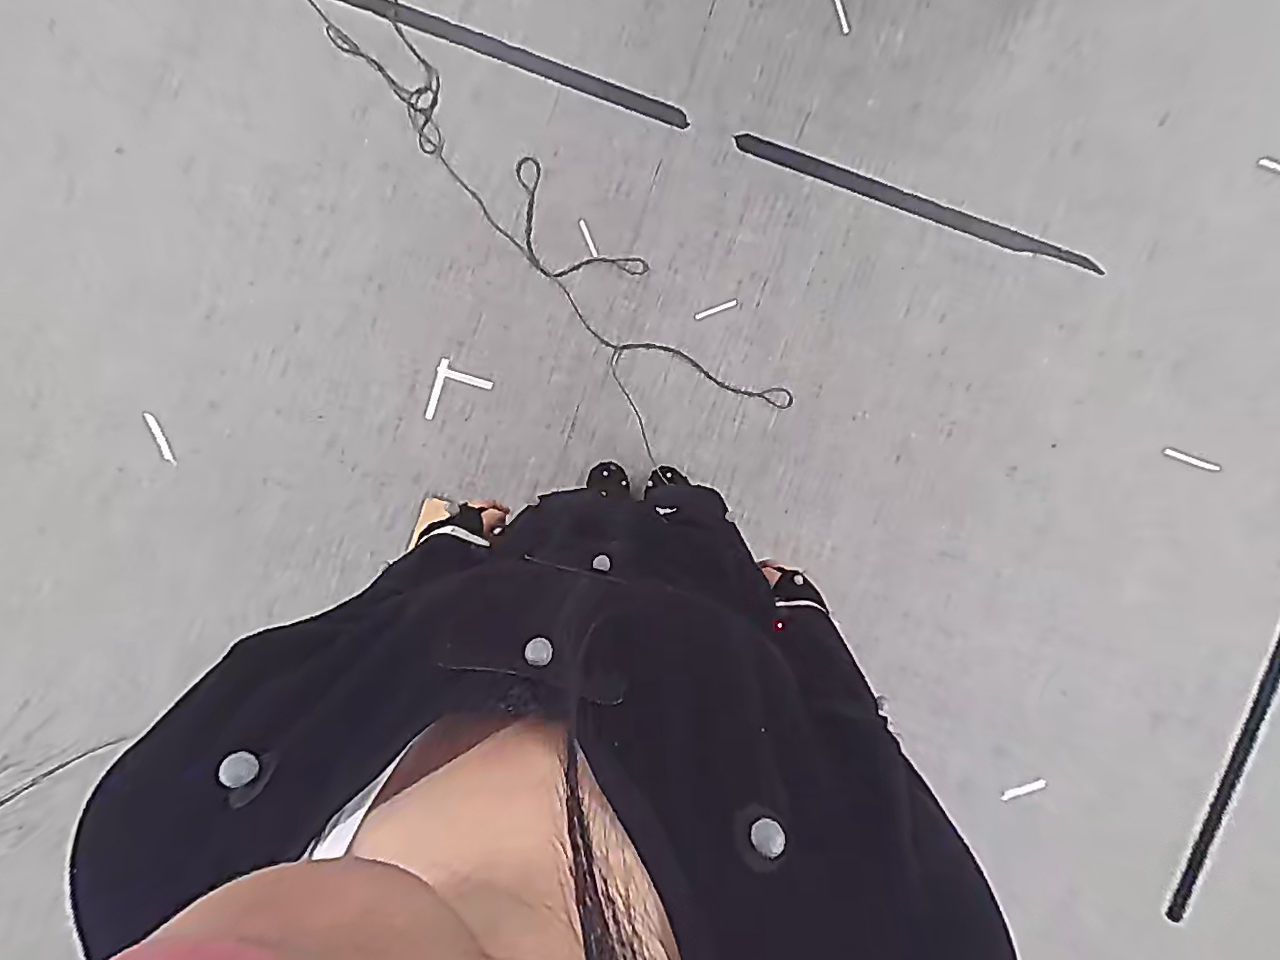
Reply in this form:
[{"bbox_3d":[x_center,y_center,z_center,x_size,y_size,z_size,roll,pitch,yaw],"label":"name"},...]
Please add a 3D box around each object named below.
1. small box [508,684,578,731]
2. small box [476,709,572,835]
[{"bbox_3d":[-0.263,0.661,1.422,0.168,0.176,0.179,12,91,0],"label":"small box"},{"bbox_3d":[-0.260,0.670,1.258,0.168,0.176,0.179,14,92,-1],"label":"small box"}]
